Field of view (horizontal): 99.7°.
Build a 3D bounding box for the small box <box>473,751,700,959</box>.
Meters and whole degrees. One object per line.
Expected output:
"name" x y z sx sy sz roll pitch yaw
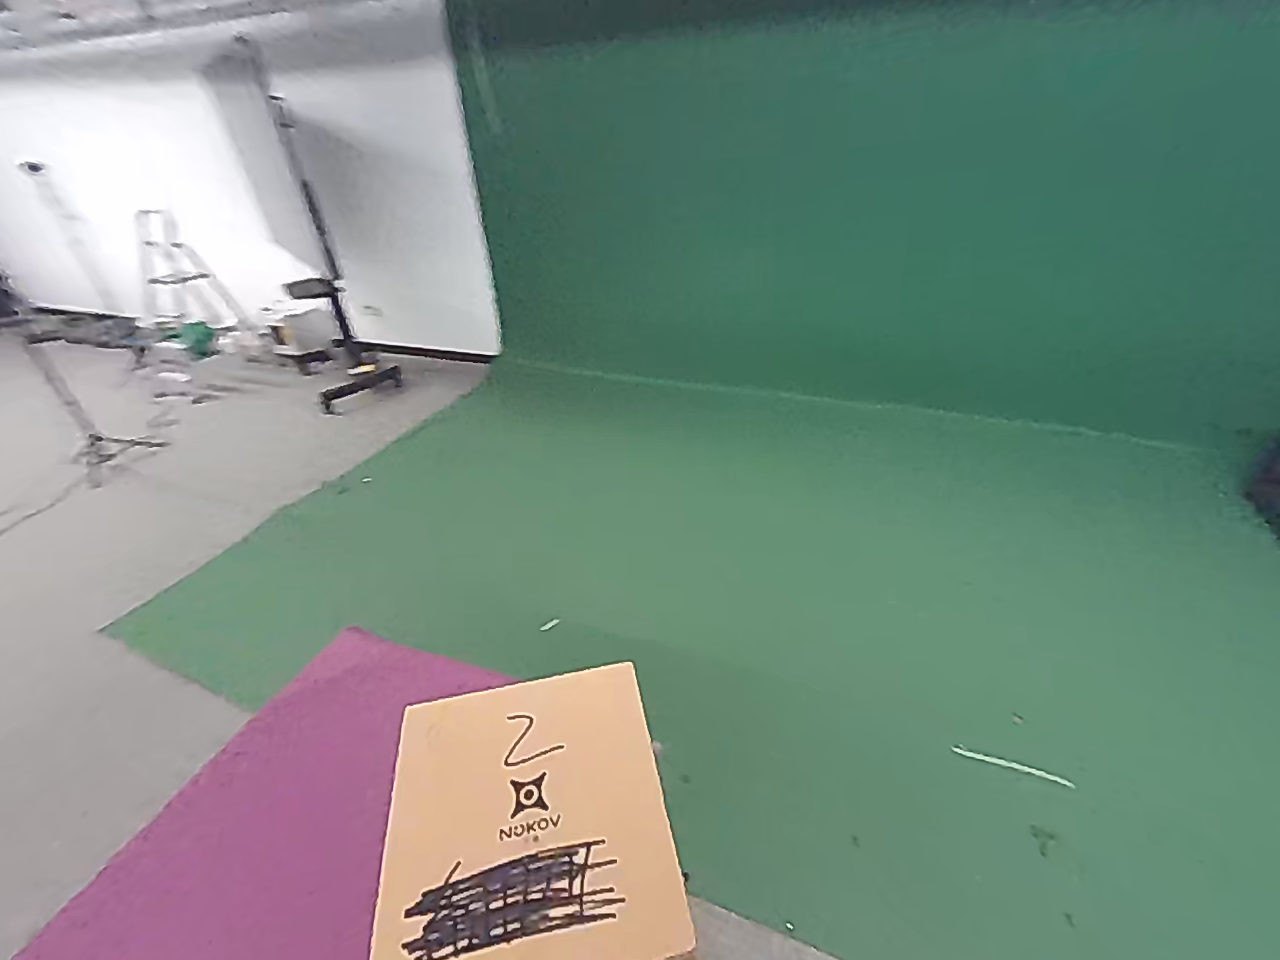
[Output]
"small box" -0.047 0.377 0.481 0.168 0.176 0.179 -7 39 -7
